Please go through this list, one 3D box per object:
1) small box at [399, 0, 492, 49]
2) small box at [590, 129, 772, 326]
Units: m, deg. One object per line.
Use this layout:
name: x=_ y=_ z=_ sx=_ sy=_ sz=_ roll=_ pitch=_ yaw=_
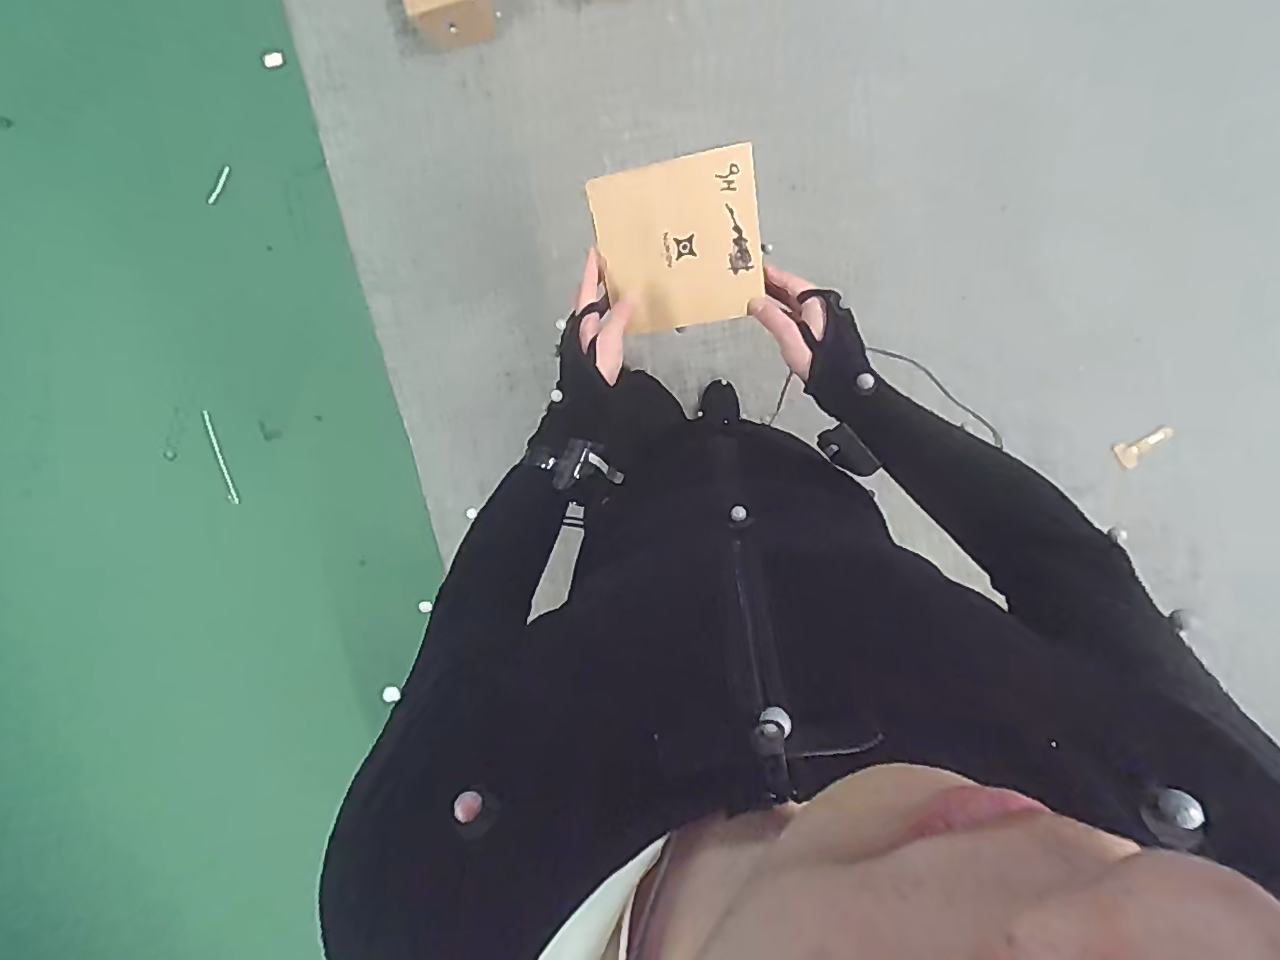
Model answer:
small box: x=-0.469 y=-1.181 z=1.289 sx=0.179 sy=0.176 sz=0.168 roll=-9 pitch=102 yaw=9
small box: x=0.058 y=-0.282 z=0.632 sx=0.179 sy=0.176 sz=0.168 roll=-5 pitch=112 yaw=13
